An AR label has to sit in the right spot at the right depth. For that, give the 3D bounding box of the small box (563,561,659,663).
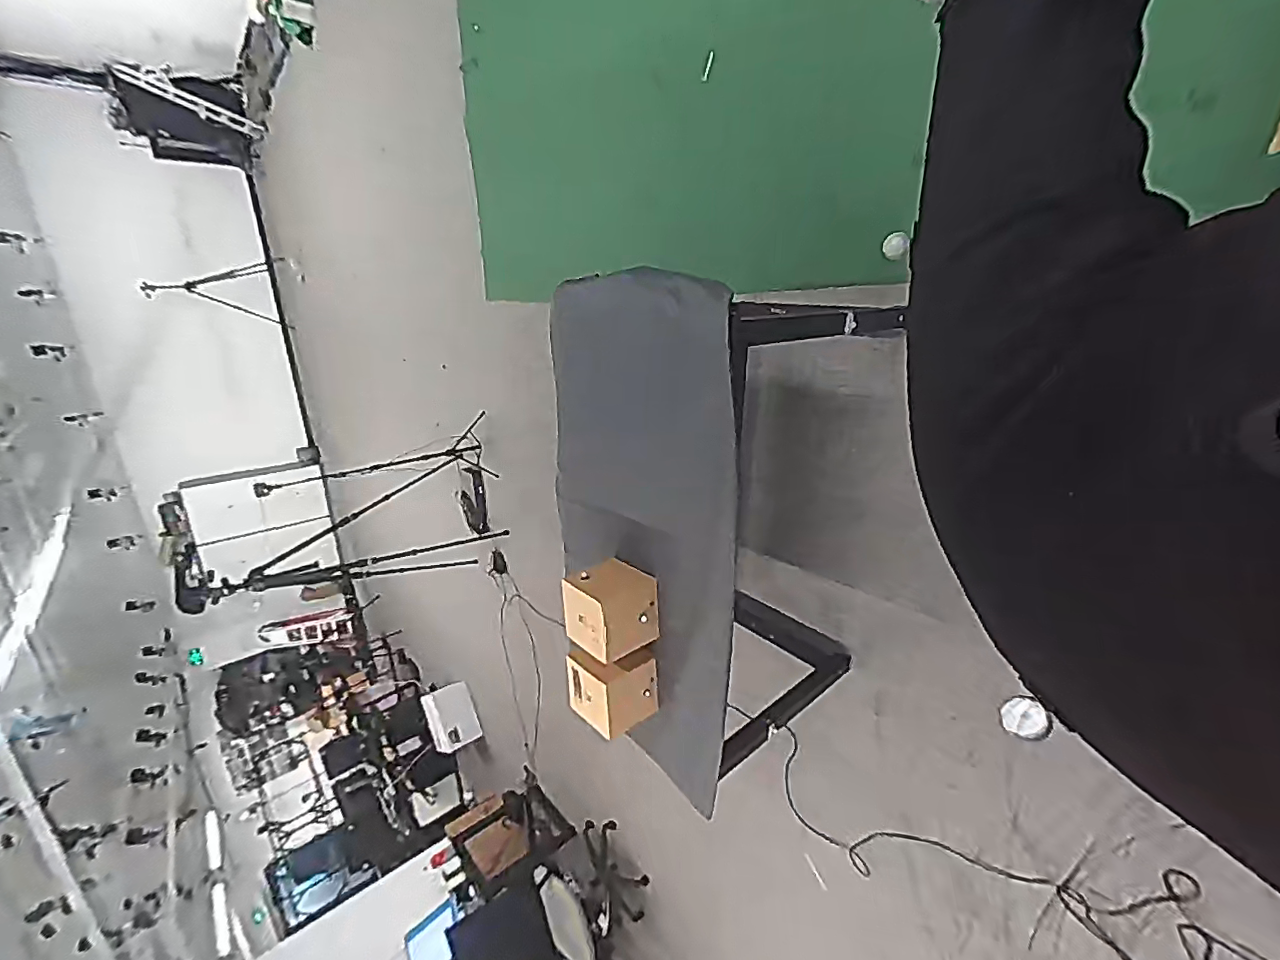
[{"bbox_3d":[-0.071,0.316,1.344,0.179,0.176,0.168,16,116,47],"label":"small box"}]
